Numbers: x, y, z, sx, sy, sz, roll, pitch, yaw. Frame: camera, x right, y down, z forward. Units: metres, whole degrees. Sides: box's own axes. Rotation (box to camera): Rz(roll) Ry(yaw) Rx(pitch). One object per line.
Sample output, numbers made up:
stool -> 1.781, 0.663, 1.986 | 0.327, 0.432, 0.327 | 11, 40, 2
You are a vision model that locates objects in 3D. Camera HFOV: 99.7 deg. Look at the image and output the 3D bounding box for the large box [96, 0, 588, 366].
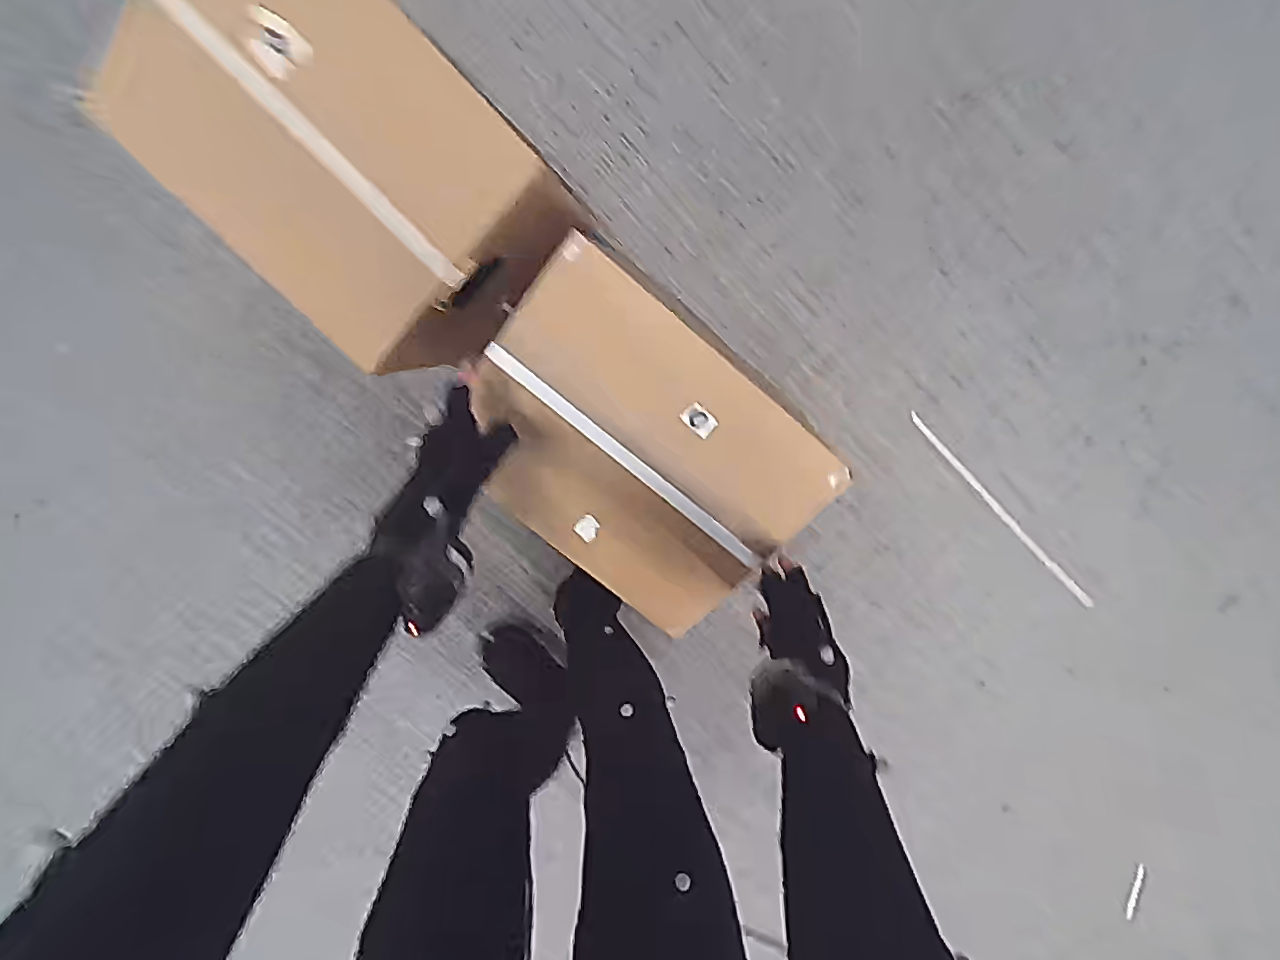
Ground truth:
large box -> -0.335, -0.406, 0.718 | 0.320, 0.320, 0.408 | -43, 97, 13
